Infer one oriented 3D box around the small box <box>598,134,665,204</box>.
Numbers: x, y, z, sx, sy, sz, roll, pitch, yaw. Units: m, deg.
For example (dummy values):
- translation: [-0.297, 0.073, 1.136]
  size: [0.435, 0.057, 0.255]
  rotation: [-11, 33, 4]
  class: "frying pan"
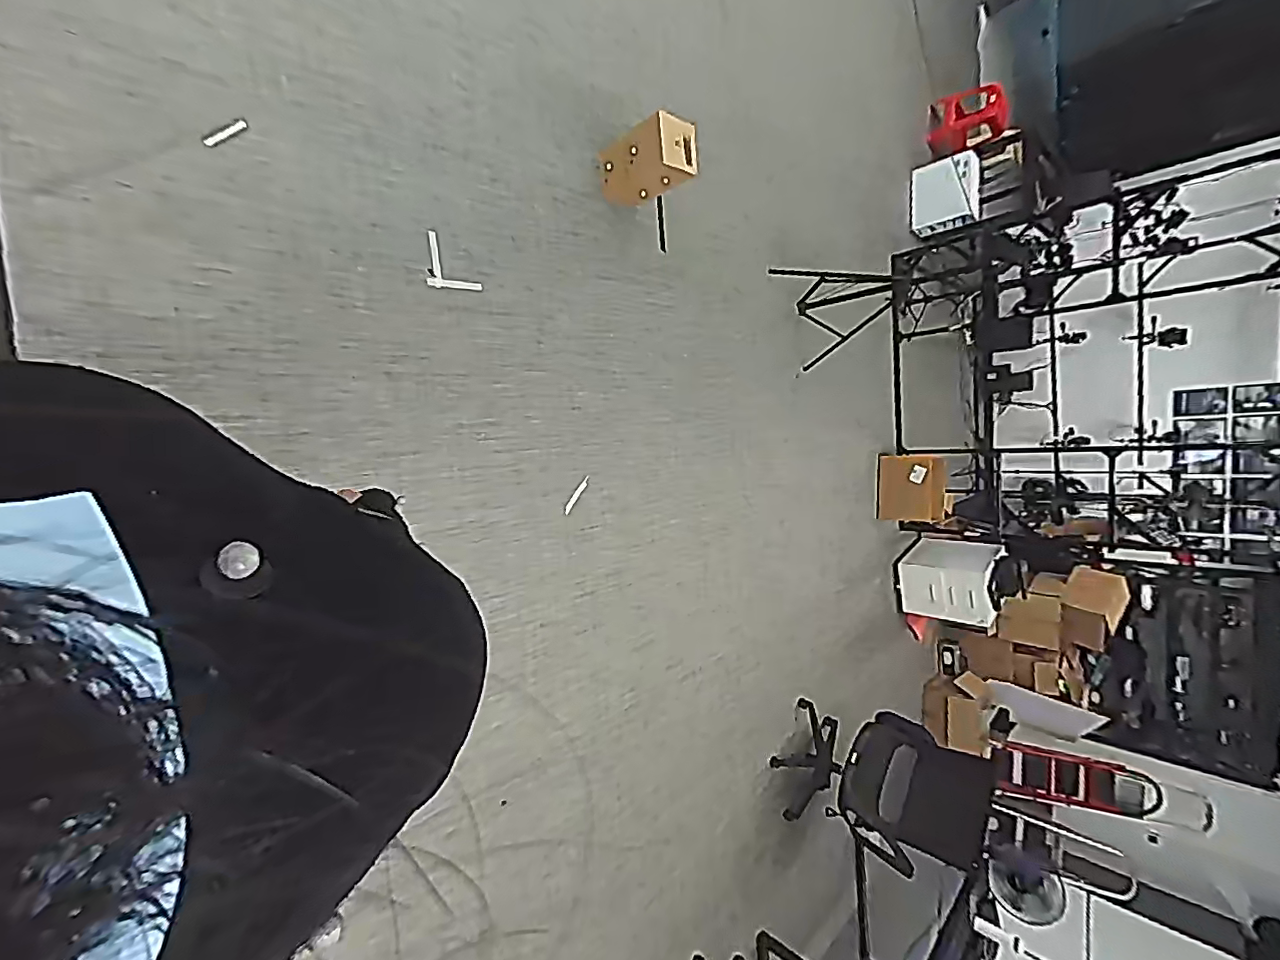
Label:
- translation: [-0.031, -1.140, 1.998]
  size: [0.179, 0.176, 0.168]
  rotation: [-16, 102, -43]
  class: "small box"
